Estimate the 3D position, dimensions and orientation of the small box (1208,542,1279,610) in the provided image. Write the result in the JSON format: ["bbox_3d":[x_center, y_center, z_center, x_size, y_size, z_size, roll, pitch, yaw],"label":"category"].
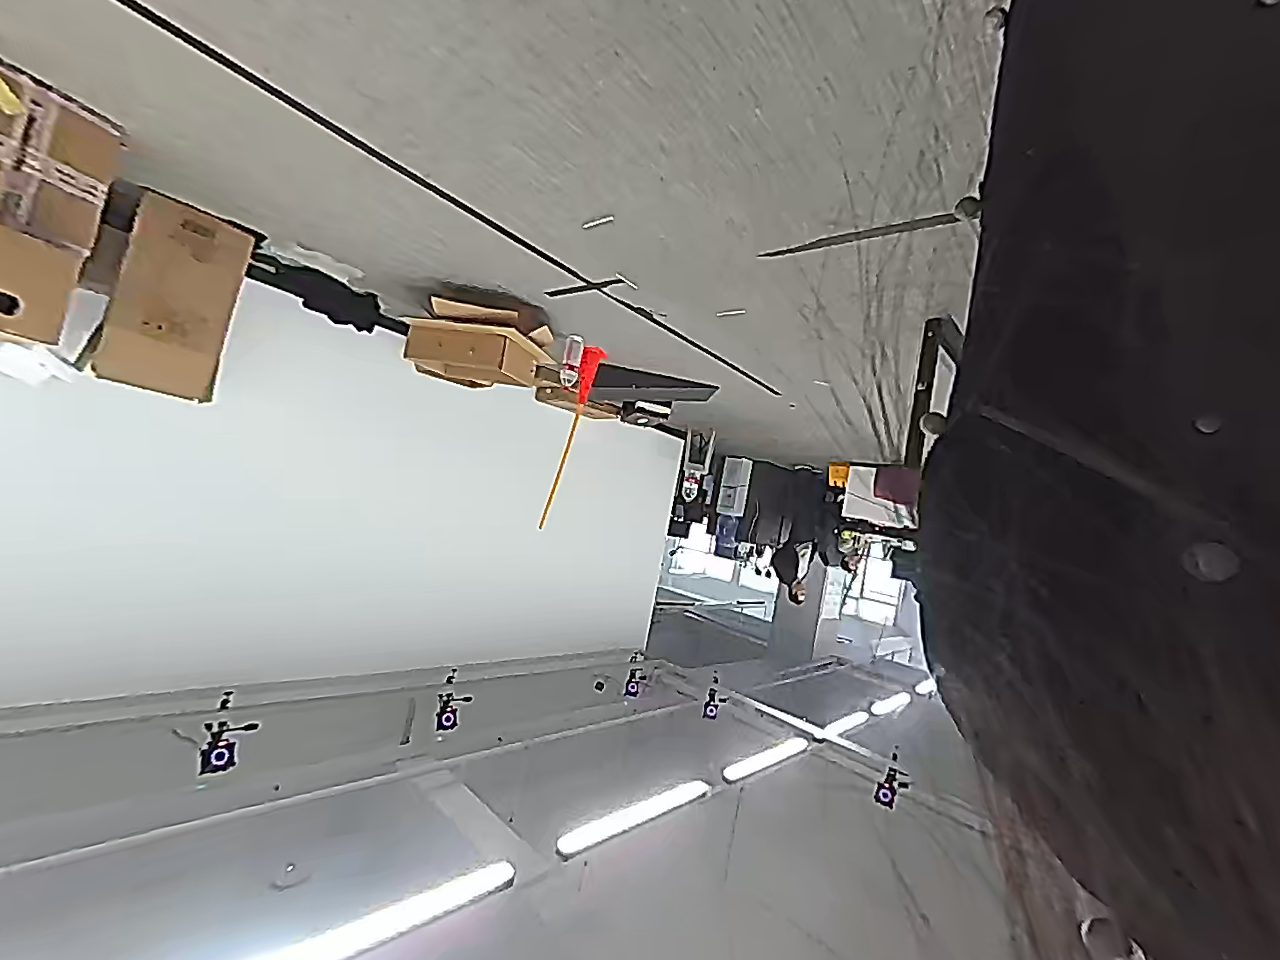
[{"bbox_3d":[1.754,0.273,1.543,0.179,0.176,0.168,12,178,-44],"label":"small box"}]
